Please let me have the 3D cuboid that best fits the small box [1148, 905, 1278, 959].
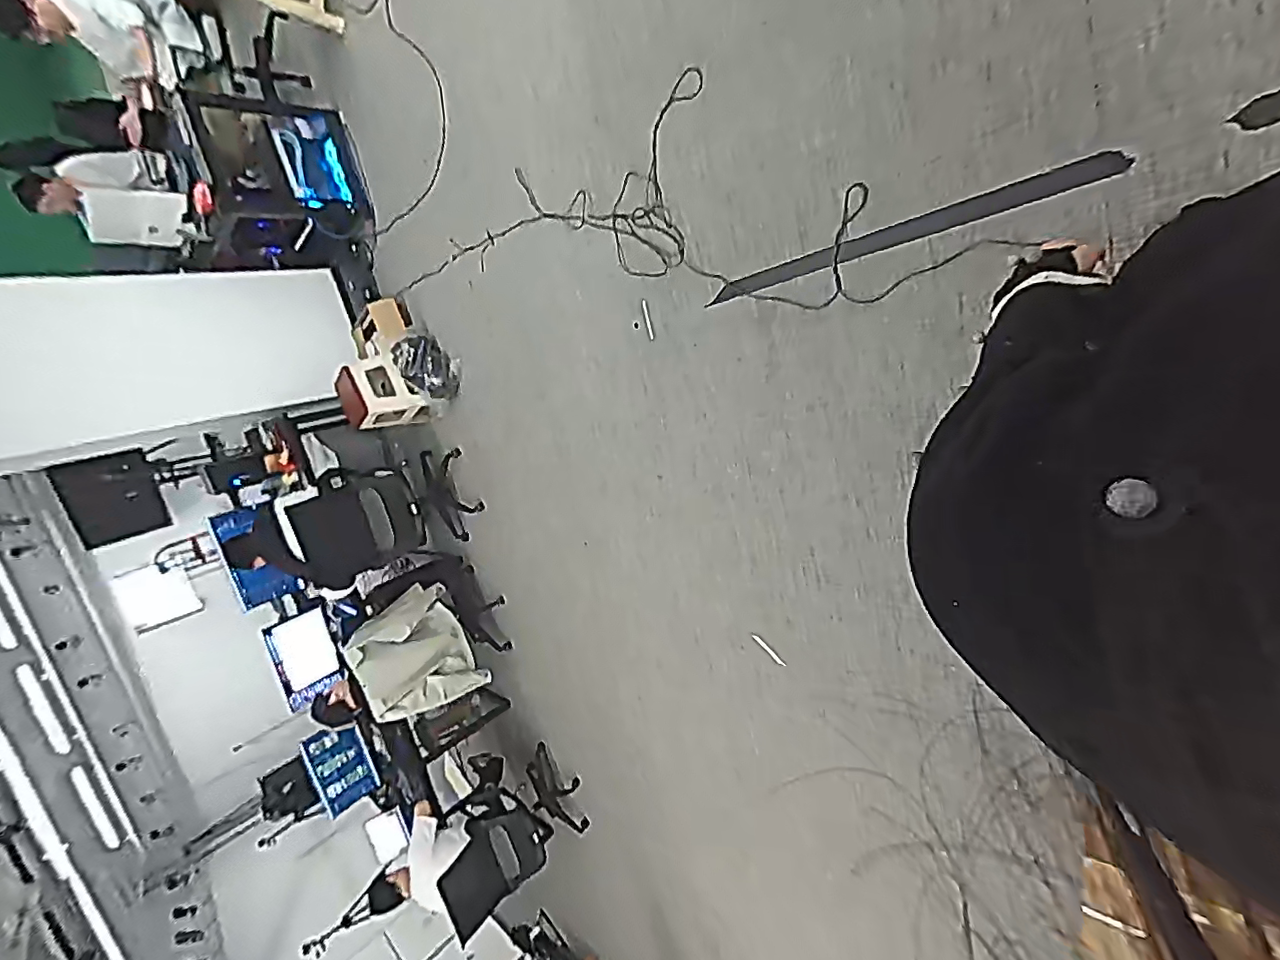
[{"bbox_3d":[1.098,0.975,1.033,0.179,0.176,0.168,-4,104,47],"label":"small box"}]
